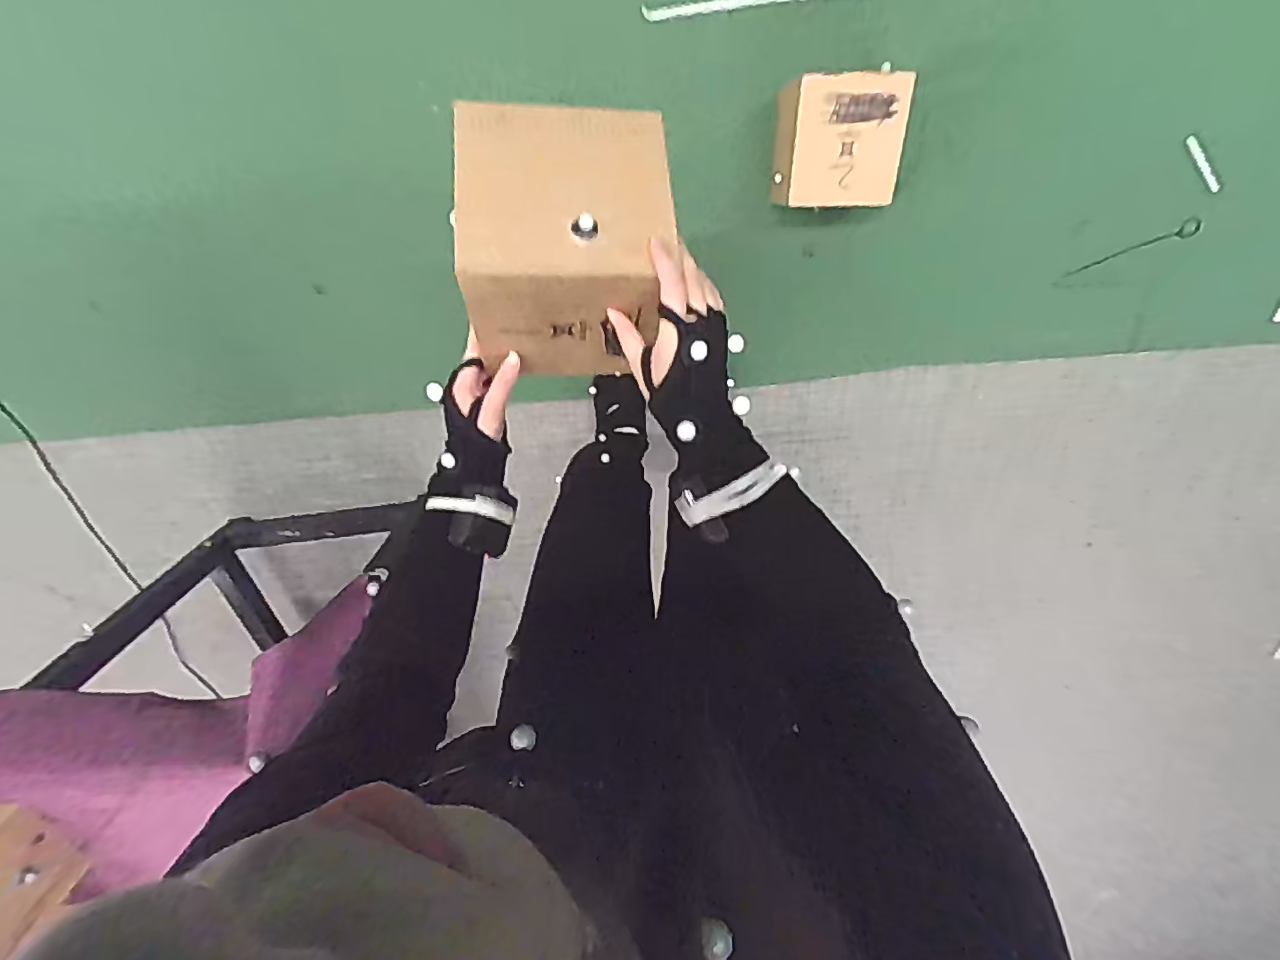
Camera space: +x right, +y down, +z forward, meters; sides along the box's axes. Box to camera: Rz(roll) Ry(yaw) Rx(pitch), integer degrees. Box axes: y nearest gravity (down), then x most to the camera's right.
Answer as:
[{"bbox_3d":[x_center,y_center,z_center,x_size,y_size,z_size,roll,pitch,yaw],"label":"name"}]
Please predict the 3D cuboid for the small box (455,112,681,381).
[{"bbox_3d":[-0.070,-0.206,0.505,0.179,0.168,0.176,-2,75,-9],"label":"small box"}]

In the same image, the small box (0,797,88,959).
[{"bbox_3d":[-0.942,0.562,0.736,0.179,0.176,0.168,-6,120,2],"label":"small box"}]

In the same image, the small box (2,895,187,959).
[{"bbox_3d":[-0.911,0.811,0.879,0.179,0.176,0.168,-7,119,5],"label":"small box"}]
